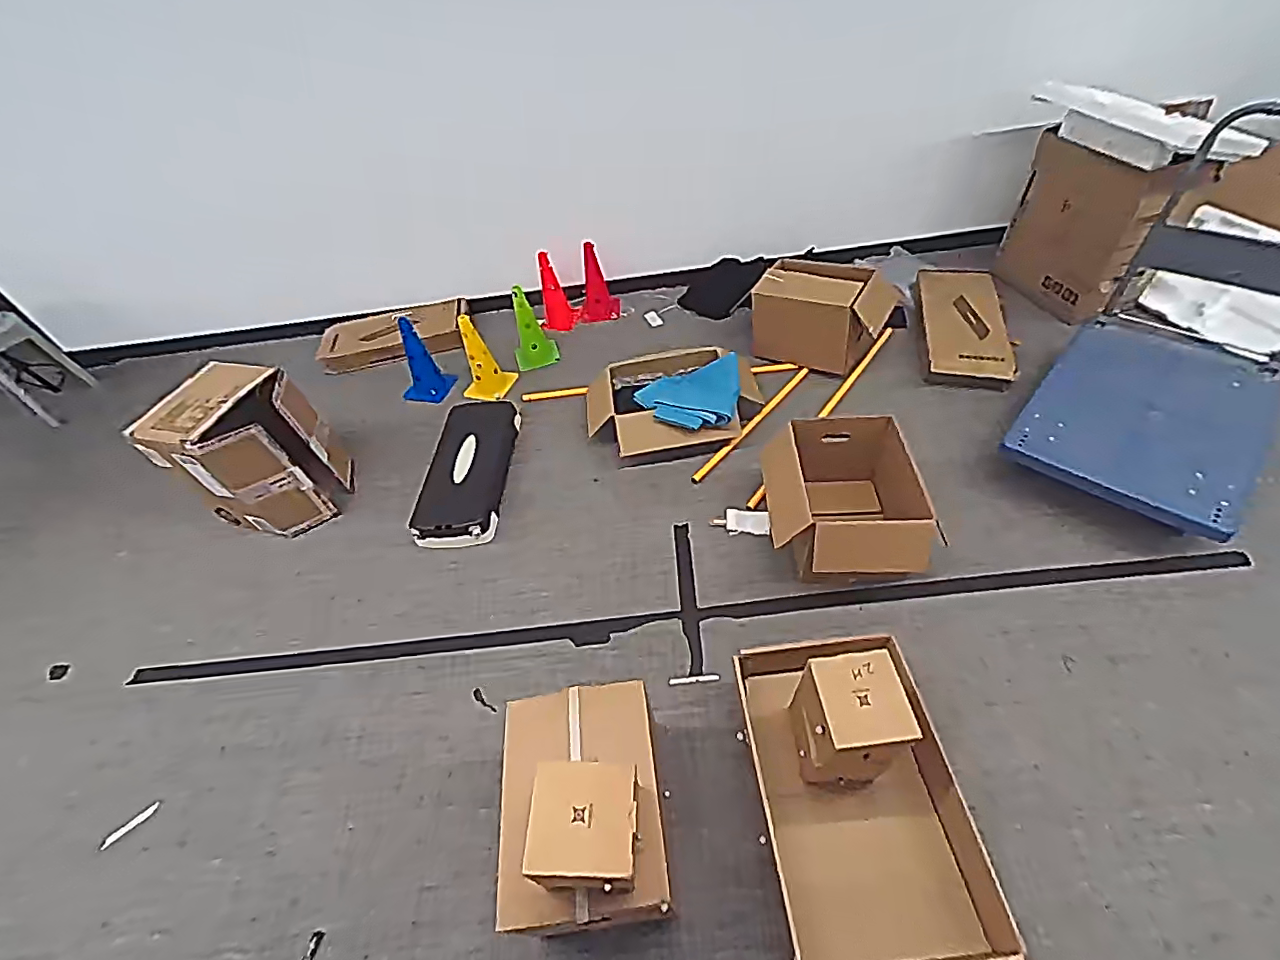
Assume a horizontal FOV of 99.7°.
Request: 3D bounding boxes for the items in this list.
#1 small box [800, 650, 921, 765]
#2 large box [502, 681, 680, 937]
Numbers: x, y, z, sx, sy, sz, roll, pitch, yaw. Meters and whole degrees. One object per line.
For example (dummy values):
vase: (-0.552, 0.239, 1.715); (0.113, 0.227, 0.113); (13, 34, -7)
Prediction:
small box: (0.441, 0.474, 1.115); (0.168, 0.176, 0.179); (-7, 50, 0)
large box: (-0.101, 0.712, 1.180); (0.320, 0.320, 0.408); (-10, 49, 1)
